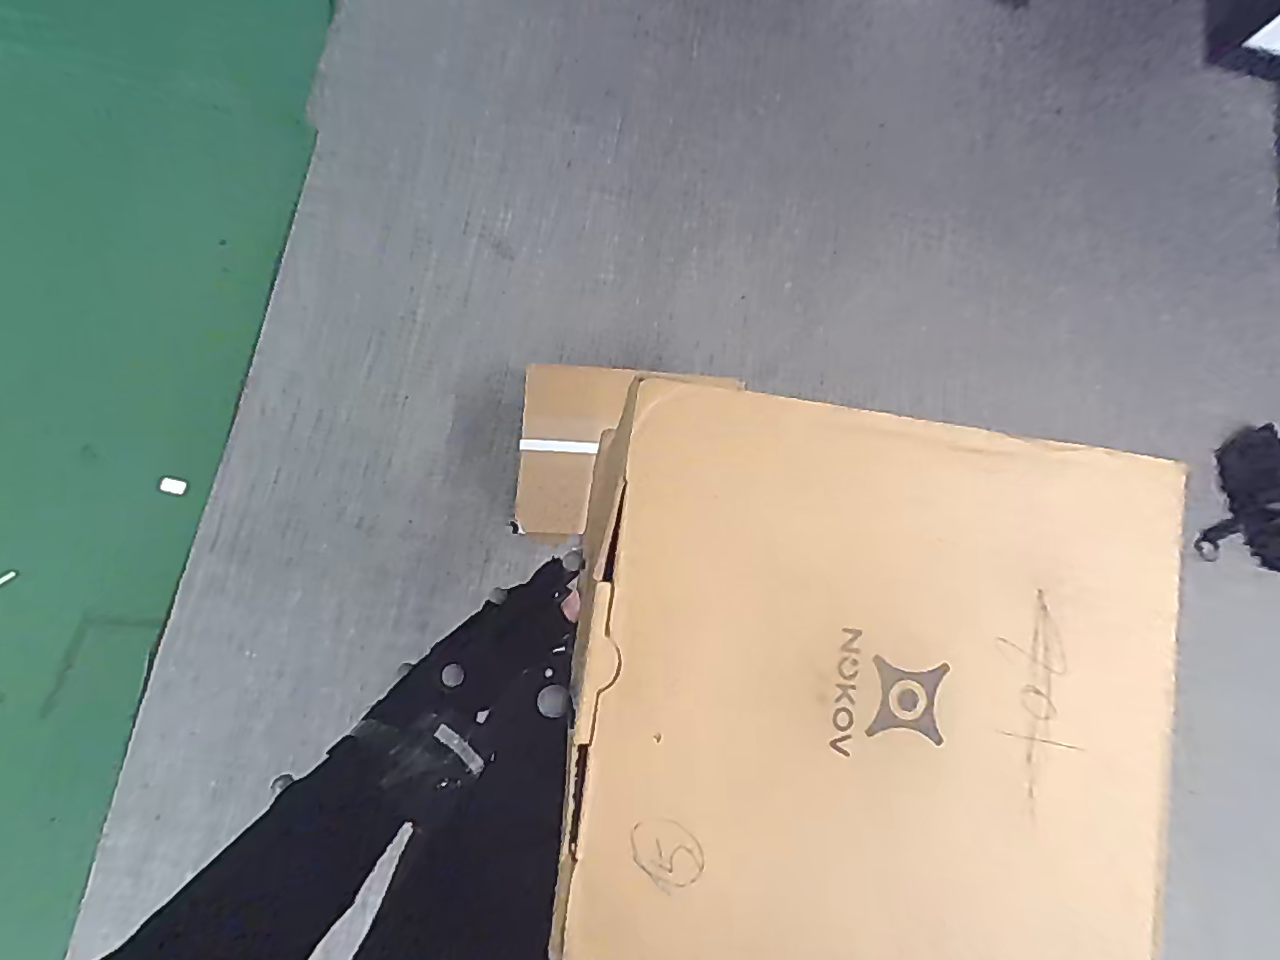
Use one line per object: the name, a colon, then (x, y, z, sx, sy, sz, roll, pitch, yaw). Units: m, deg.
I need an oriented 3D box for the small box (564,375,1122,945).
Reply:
small box: (0.065, 0.063, 0.253, 0.179, 0.176, 0.168, 8, 85, -6)
